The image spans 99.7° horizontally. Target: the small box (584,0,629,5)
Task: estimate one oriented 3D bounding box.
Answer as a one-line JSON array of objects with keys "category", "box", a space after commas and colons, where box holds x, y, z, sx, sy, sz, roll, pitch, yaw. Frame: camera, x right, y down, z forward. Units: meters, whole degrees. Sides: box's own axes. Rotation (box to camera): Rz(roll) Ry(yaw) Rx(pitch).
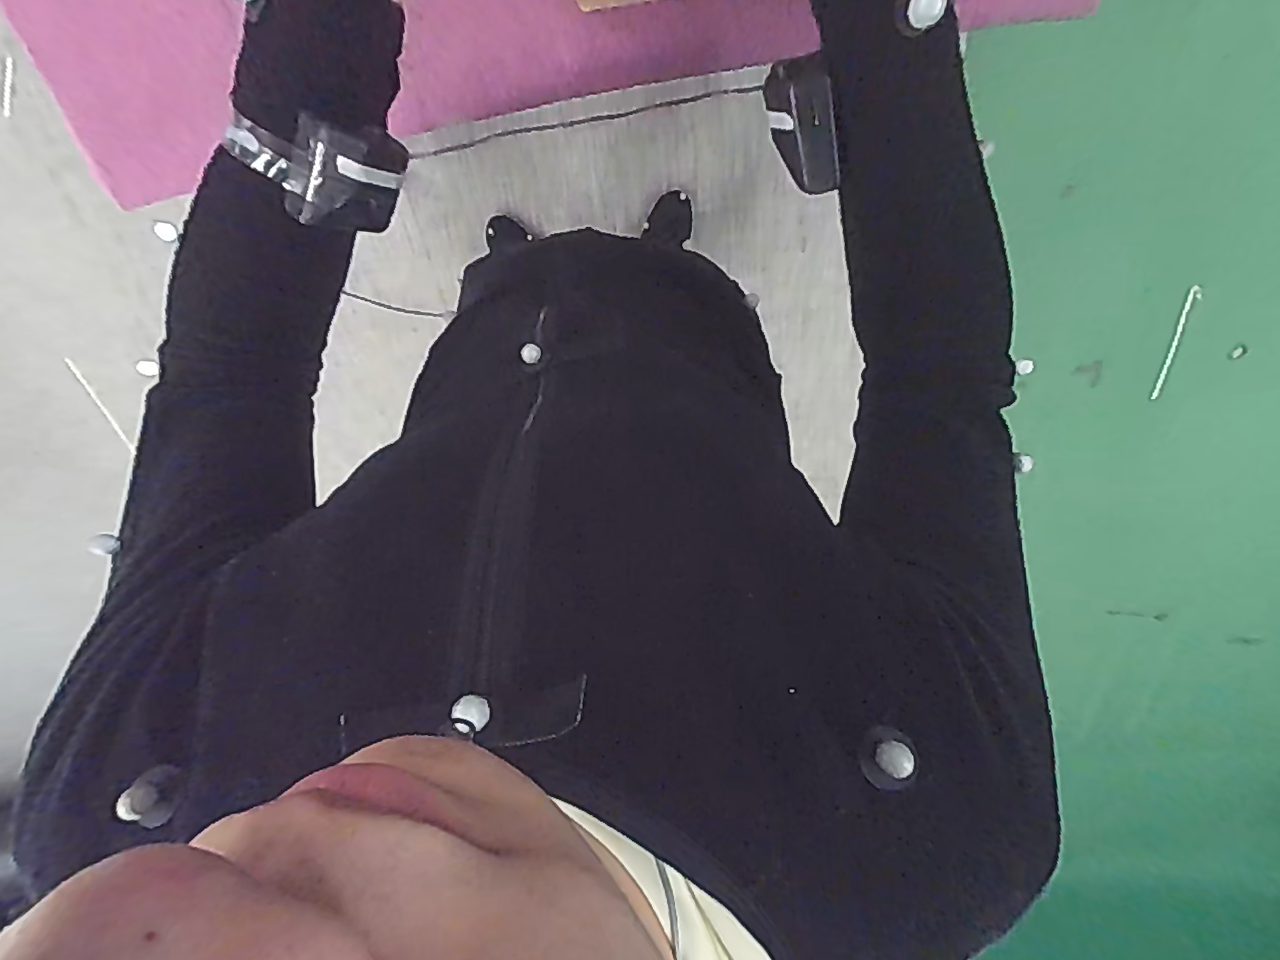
[{"category": "small box", "box": [-0.002, -0.574, 0.498, 0.168, 0.176, 0.179, -5, 118, 6]}]
